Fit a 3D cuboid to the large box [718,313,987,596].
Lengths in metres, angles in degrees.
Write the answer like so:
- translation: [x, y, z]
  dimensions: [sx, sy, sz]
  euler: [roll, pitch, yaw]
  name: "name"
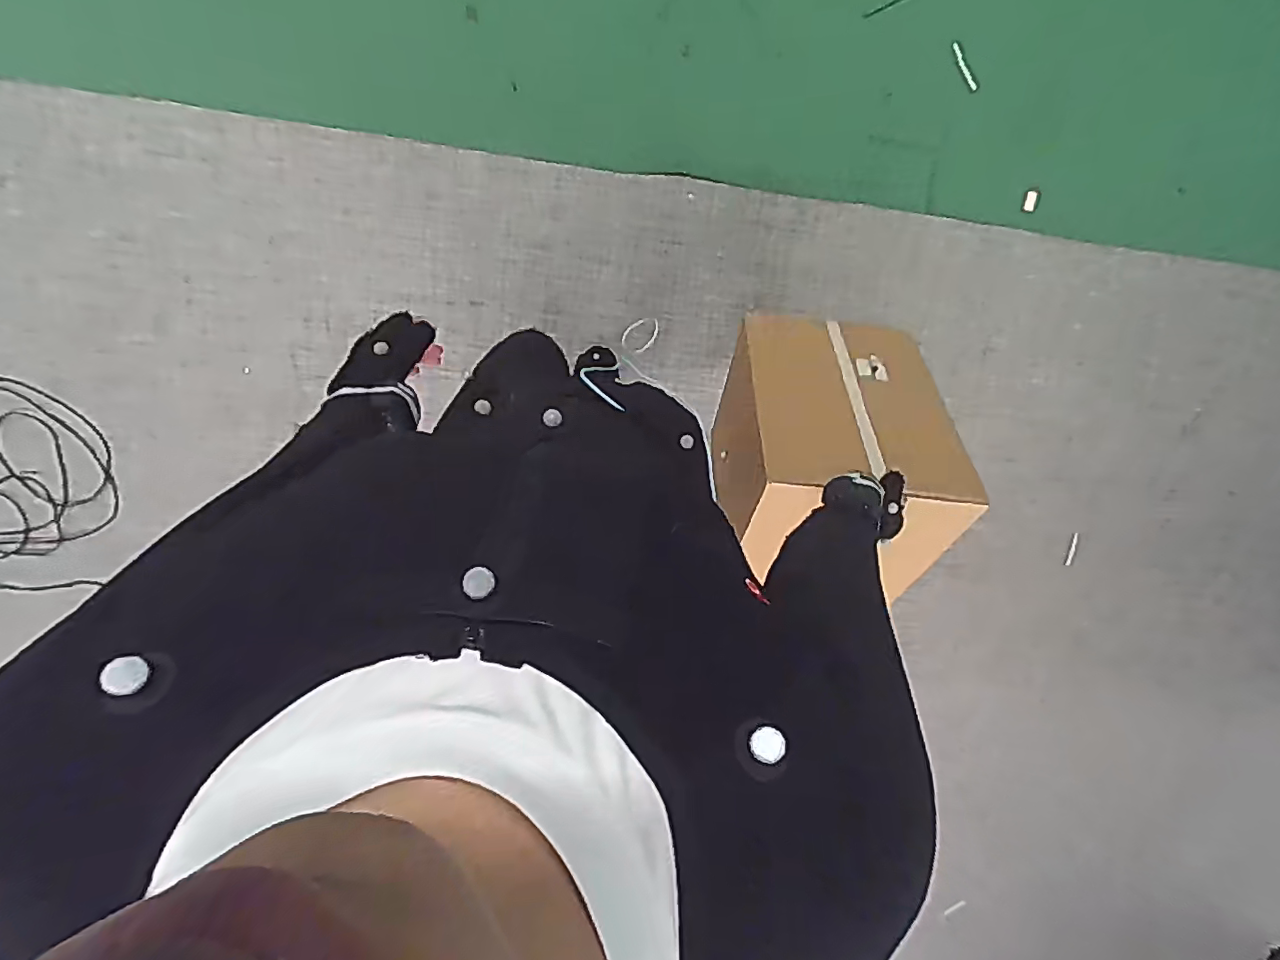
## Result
- translation: [0.326, -0.044, 0.976]
  dimensions: [0.320, 0.408, 0.320]
  euler: [6, 141, -3]
  name: "large box"
